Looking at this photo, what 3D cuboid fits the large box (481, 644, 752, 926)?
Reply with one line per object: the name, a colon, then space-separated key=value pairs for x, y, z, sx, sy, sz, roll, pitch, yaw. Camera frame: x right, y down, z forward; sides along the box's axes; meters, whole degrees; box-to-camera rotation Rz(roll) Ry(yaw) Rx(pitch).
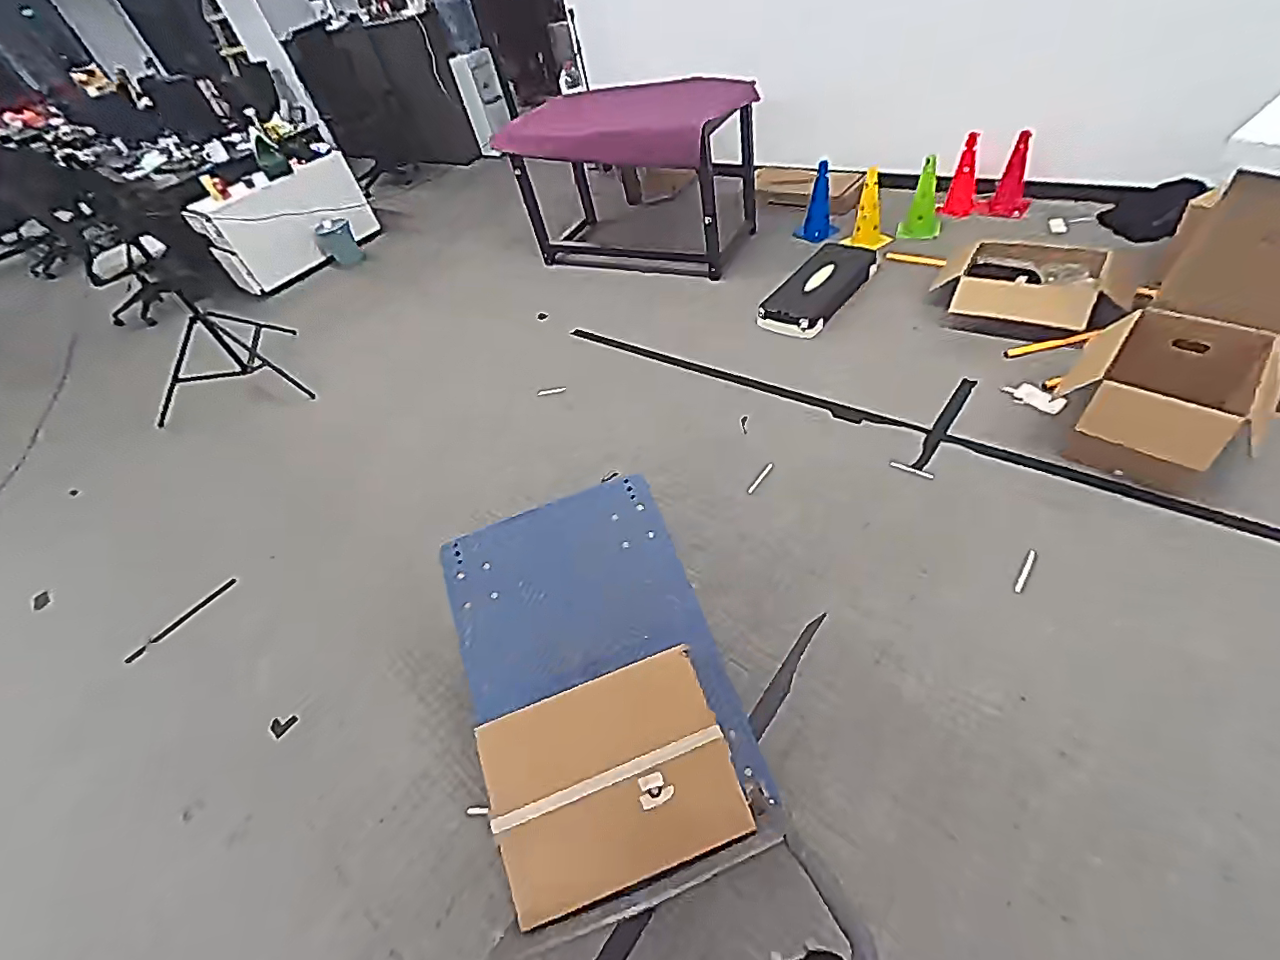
large box: x=-0.044 y=0.569 z=1.071 sx=0.408 sy=0.320 sz=0.320 roll=-21 pitch=67 yaw=-7
